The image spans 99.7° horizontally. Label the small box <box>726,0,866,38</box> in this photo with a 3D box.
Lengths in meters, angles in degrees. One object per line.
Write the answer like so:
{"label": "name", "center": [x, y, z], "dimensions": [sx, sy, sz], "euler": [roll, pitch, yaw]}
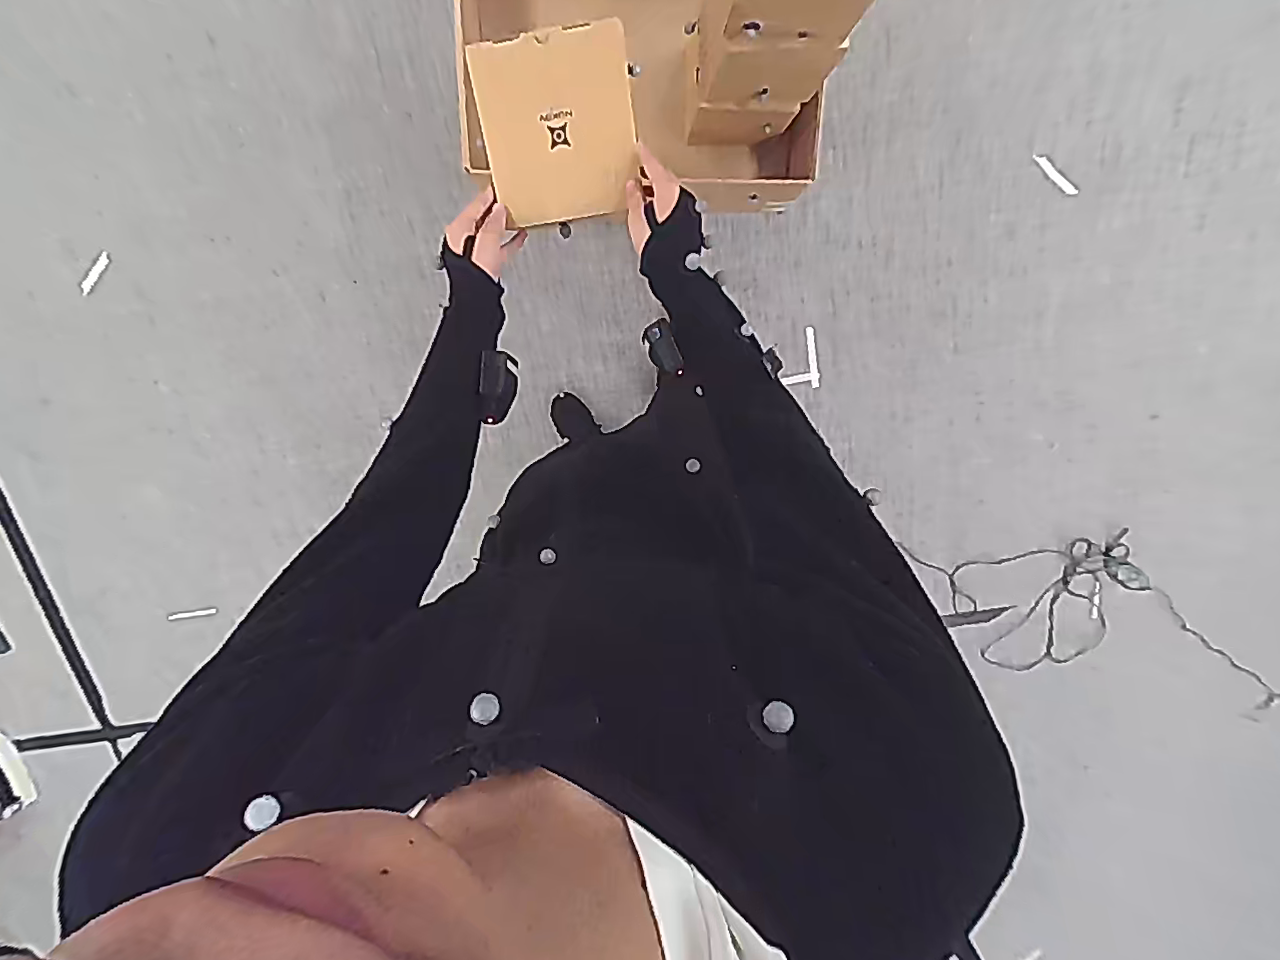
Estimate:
{"label": "small box", "center": [0.197, -0.651, 0.618], "dimensions": [0.168, 0.176, 0.179], "euler": [2, 103, -3]}

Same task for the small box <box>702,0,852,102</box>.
{"label": "small box", "center": [0.191, -0.676, 0.782], "dimensions": [0.179, 0.176, 0.168], "euler": [-2, 104, -3]}

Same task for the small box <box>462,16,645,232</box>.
{"label": "small box", "center": [-0.086, -0.401, 0.644], "dimensions": [0.168, 0.176, 0.179], "euler": [-8, 112, 4]}
